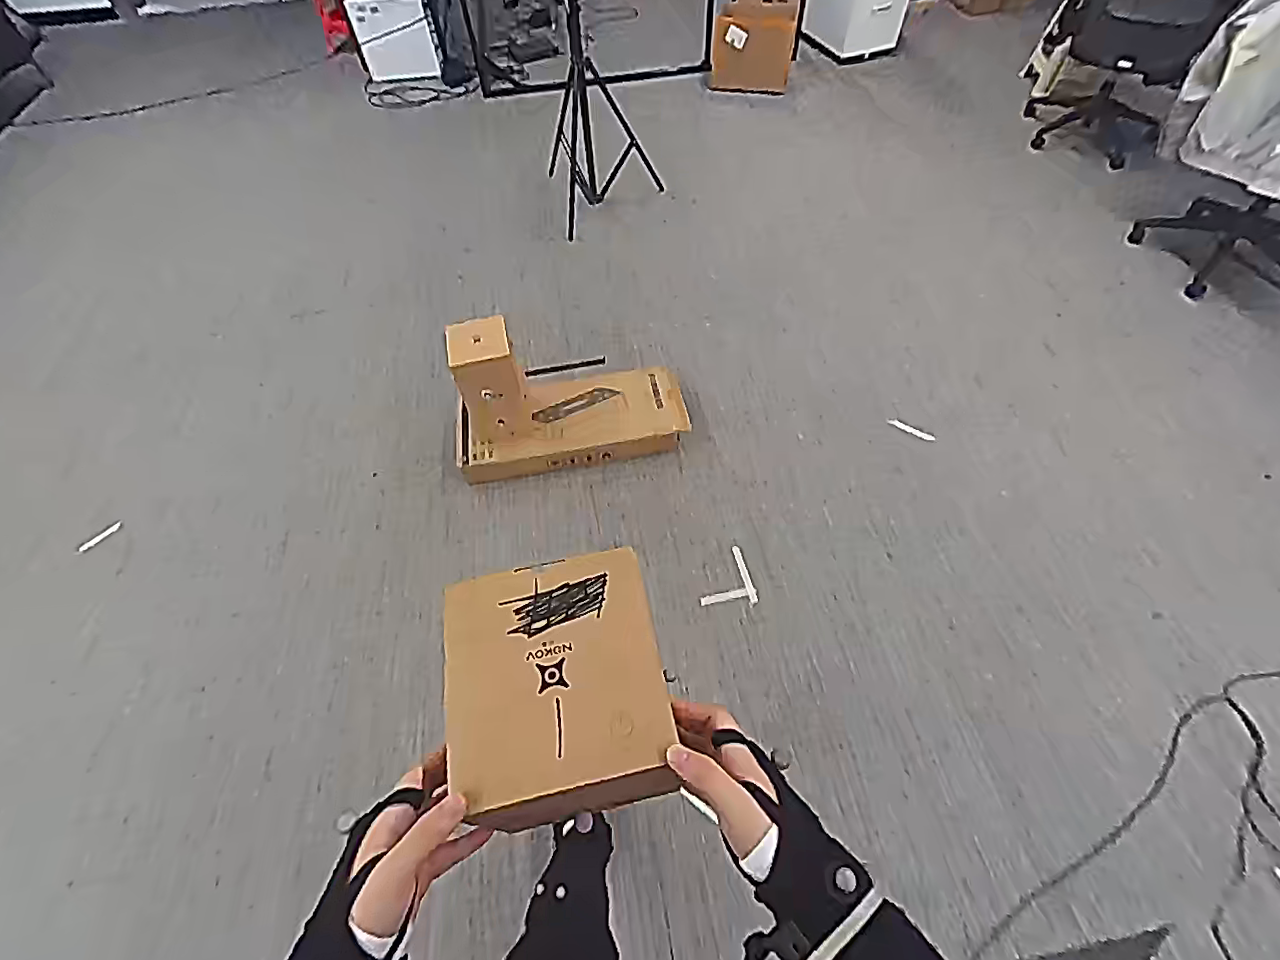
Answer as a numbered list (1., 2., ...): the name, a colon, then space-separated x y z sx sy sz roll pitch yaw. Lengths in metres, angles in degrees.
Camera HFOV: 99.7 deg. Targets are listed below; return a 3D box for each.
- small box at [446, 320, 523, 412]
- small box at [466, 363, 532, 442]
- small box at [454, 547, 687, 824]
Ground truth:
1. small box: -0.443 -0.325 1.548 0.168 0.176 0.179 -15 57 -8
2. small box: -0.435 -0.234 1.684 0.168 0.176 0.179 -8 56 -4
3. small box: -0.061 0.189 0.489 0.168 0.176 0.179 -12 55 -5
